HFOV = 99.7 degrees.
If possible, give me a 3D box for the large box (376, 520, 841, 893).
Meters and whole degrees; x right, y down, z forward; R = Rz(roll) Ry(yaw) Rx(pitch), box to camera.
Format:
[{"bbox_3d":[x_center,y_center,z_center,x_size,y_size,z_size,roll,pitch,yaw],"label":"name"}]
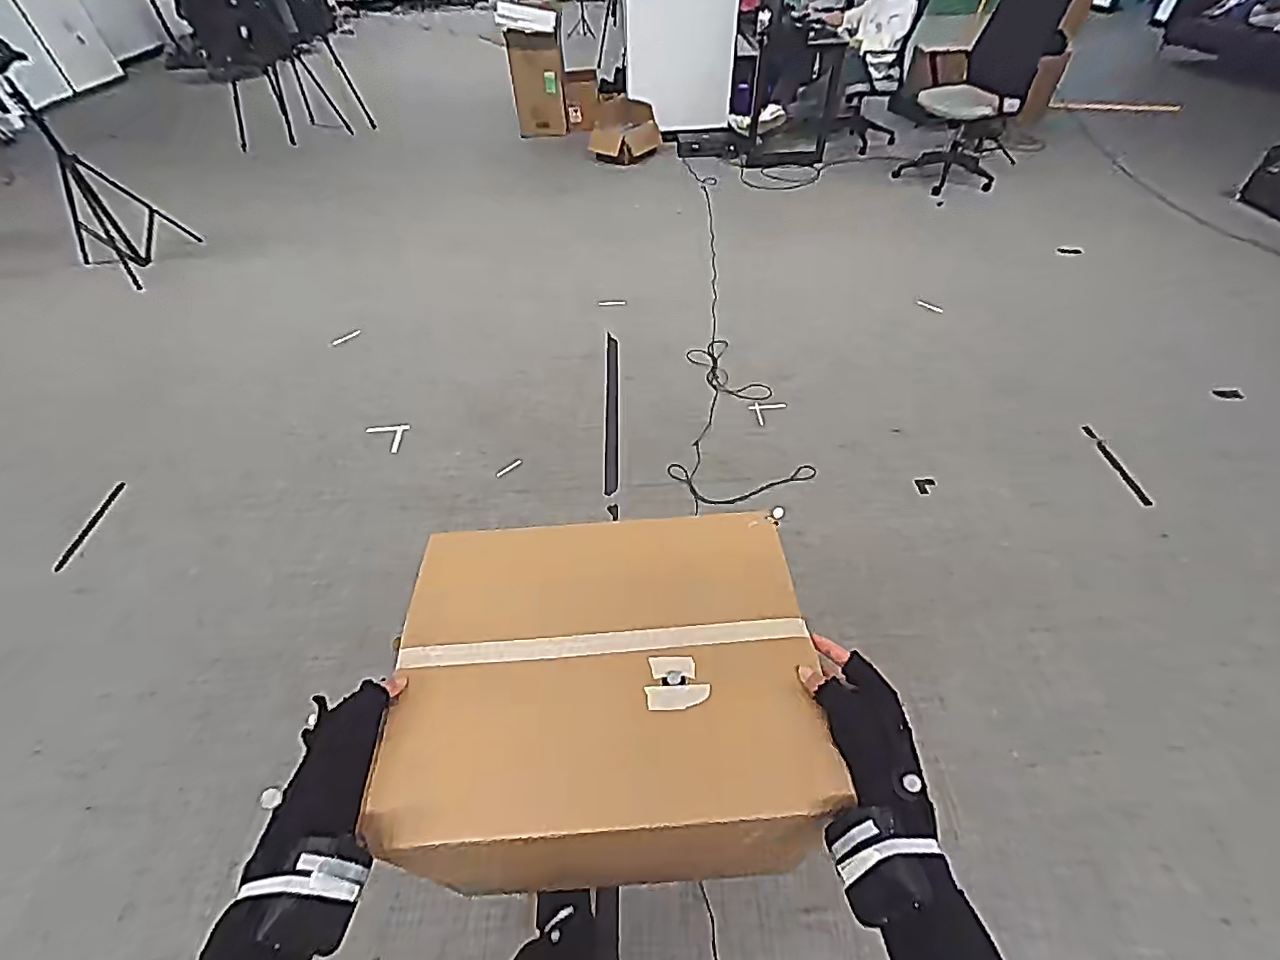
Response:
[{"bbox_3d":[-0.032,0.276,0.661,0.408,0.320,0.320,-4,47,-1],"label":"large box"}]
